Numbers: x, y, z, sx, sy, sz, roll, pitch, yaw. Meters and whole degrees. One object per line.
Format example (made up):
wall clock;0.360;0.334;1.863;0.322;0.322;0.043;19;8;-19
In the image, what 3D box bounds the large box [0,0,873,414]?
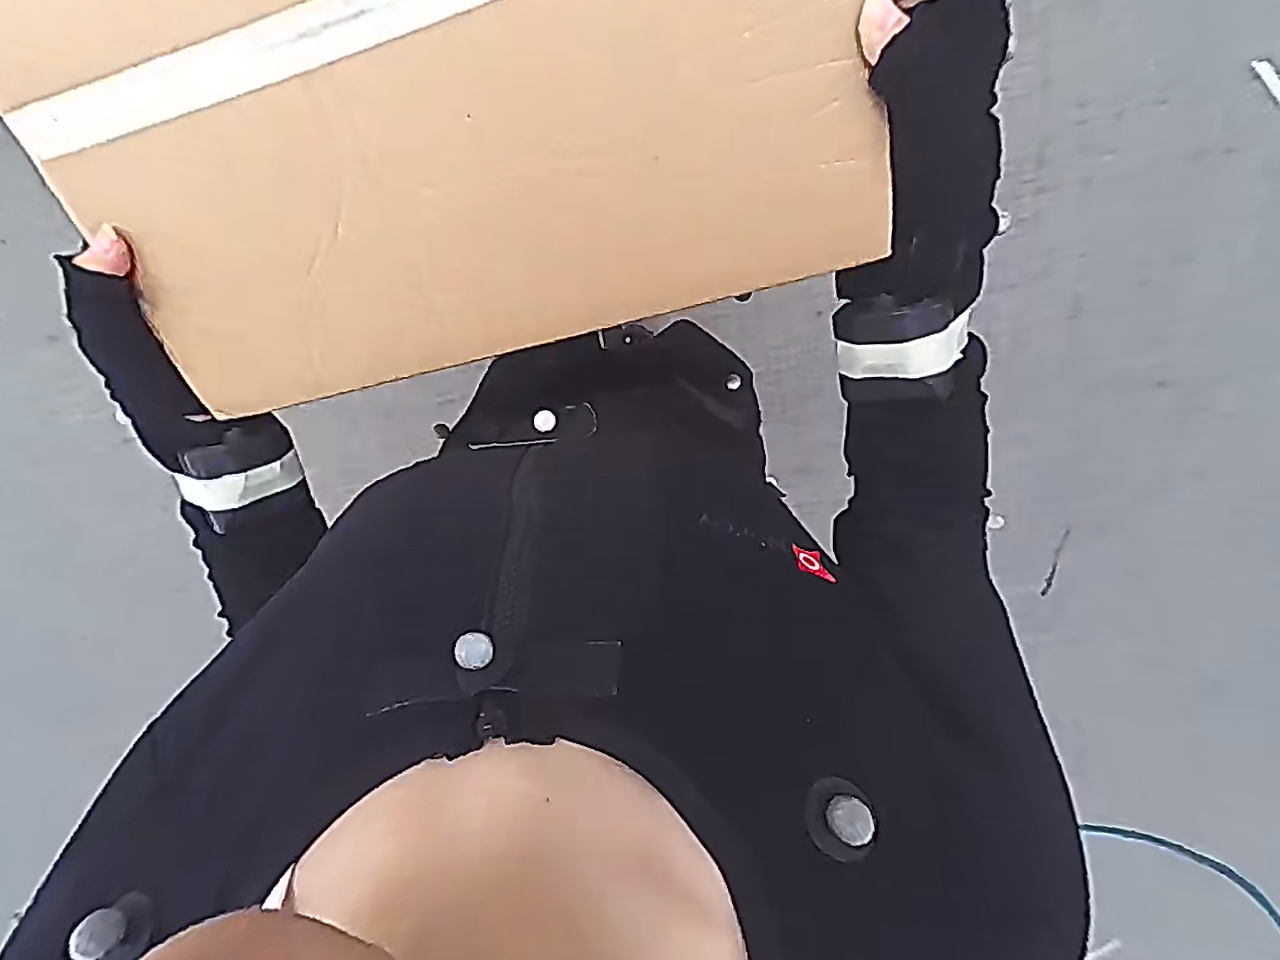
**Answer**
large box;-0.099;-0.285;0.372;0.408;0.320;0.320;-11;119;9
